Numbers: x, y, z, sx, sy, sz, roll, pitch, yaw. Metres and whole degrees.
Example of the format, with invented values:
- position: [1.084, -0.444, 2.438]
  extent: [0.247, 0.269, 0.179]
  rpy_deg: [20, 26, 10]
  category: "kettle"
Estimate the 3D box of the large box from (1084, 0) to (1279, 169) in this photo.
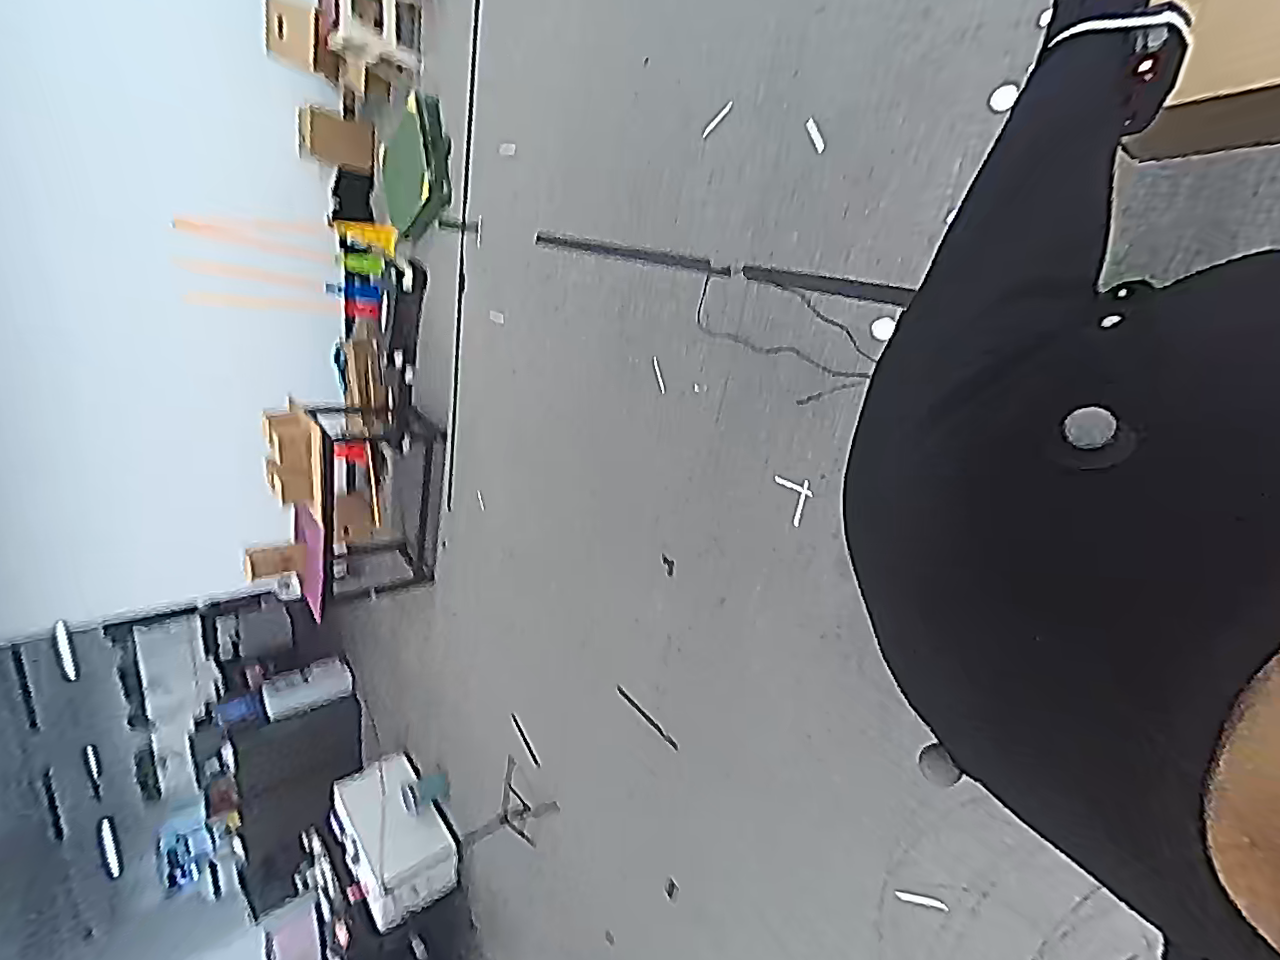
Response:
- position: [0.635, -0.462, 0.403]
  extent: [0.408, 0.320, 0.320]
  rpy_deg: [14, 113, 44]
  category: "large box"
